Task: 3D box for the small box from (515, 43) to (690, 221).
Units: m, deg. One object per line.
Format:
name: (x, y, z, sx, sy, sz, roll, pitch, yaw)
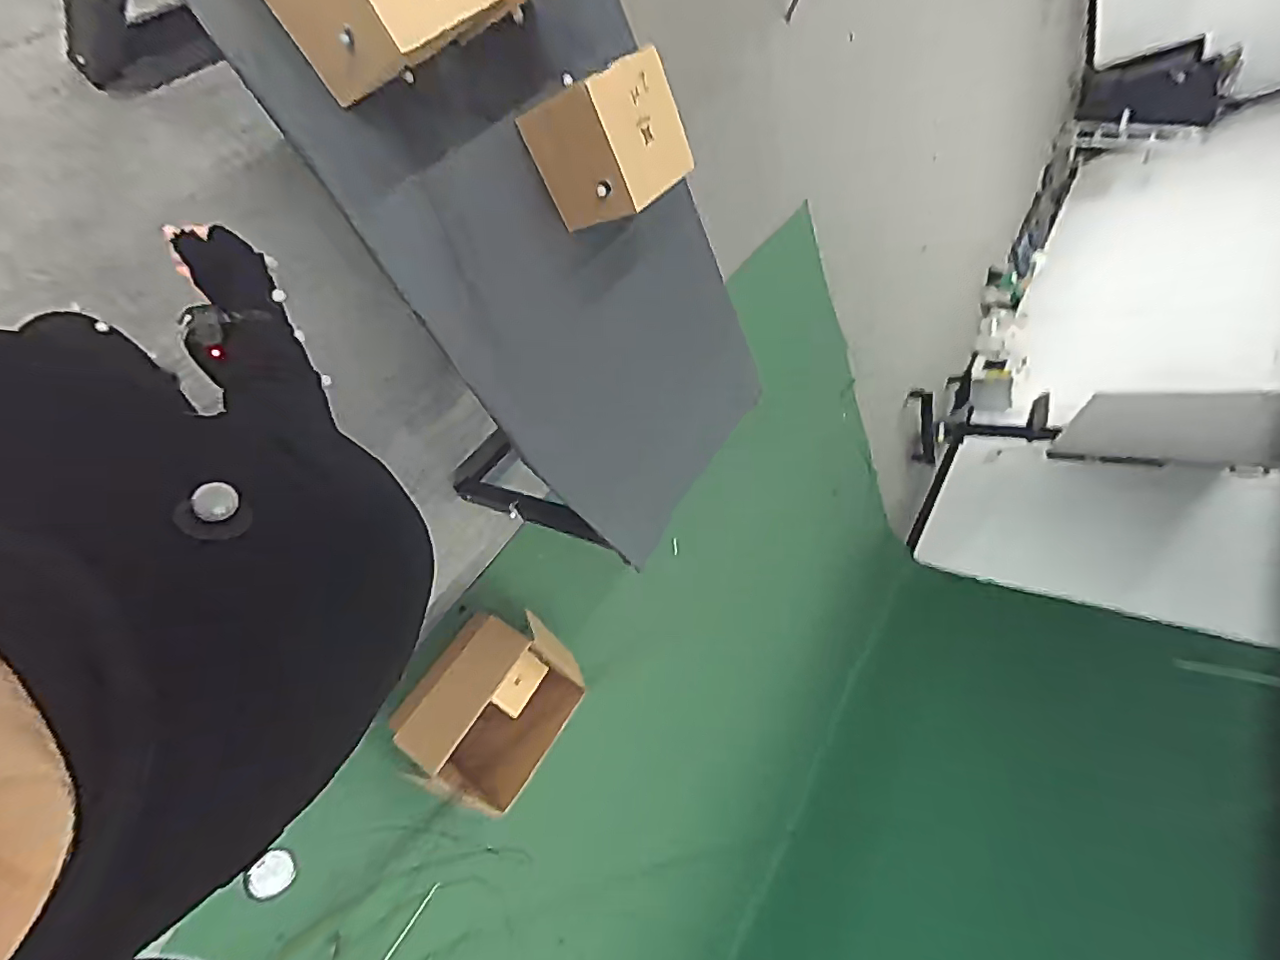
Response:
small box: (-0.056, -0.526, 0.843, 0.168, 0.176, 0.179, -50, 130, -27)
